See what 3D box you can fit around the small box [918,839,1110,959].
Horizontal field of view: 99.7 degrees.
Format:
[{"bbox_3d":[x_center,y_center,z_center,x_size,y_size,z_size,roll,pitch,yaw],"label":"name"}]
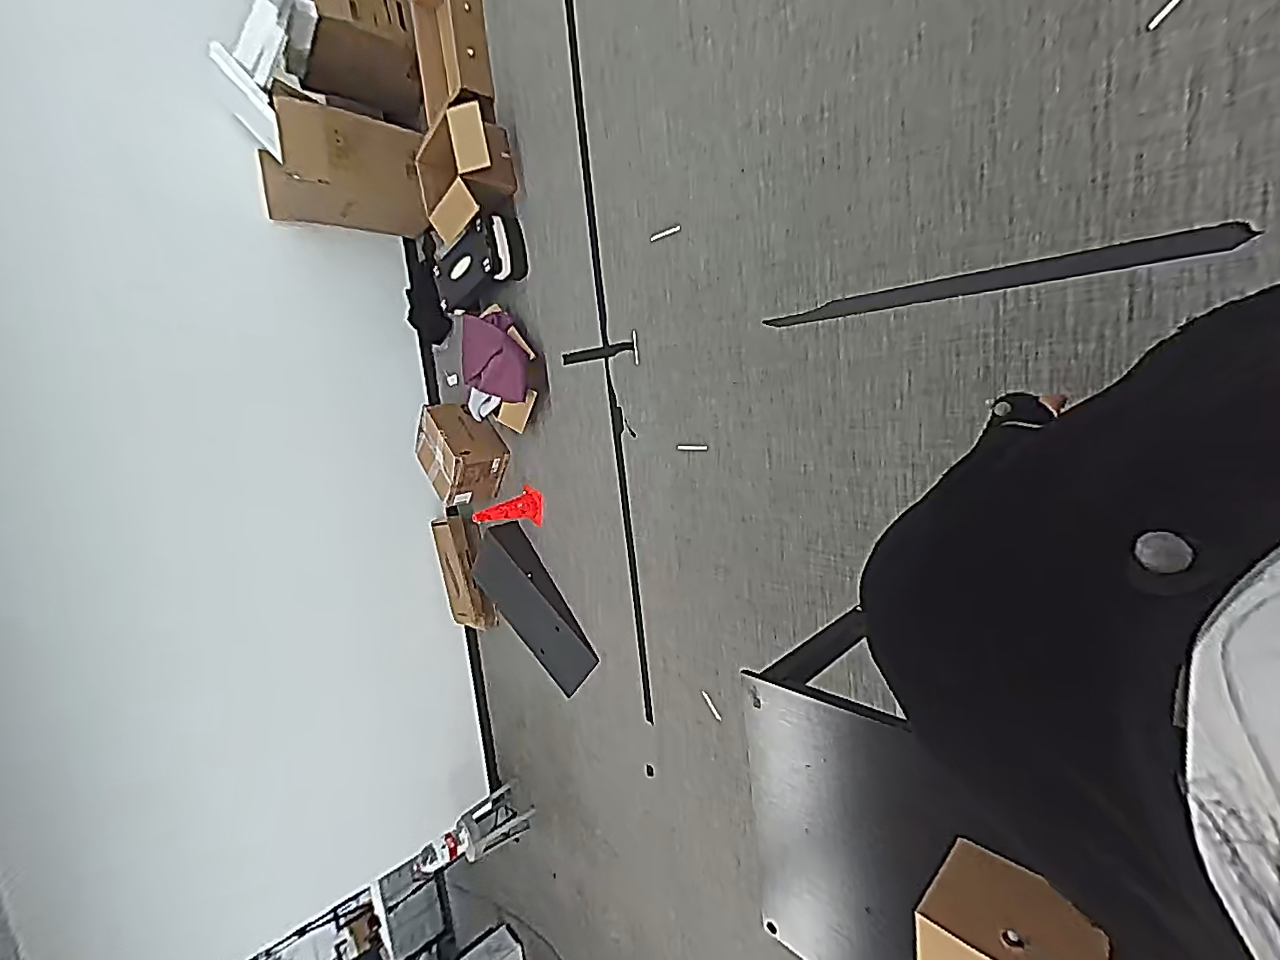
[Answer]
[{"bbox_3d":[0.491,0.626,0.711,0.179,0.176,0.168,5,104,49],"label":"small box"}]
